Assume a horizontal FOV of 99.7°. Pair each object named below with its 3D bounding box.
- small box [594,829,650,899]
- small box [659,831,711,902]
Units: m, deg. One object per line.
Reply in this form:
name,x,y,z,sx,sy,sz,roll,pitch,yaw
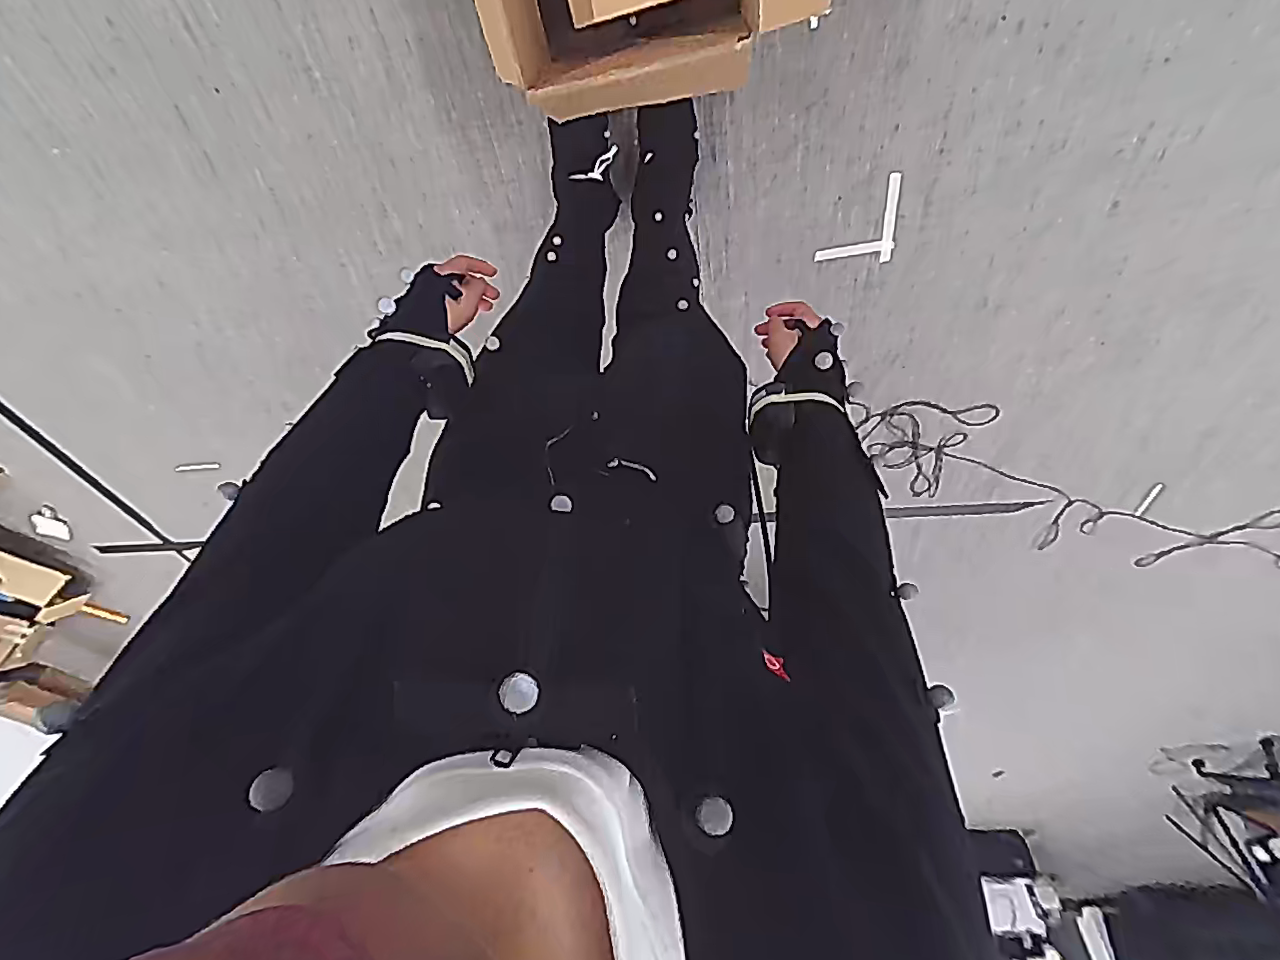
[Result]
small box,-0.055,1.306,1.838,0.168,0.176,0.179,-2,137,5
small box,0.153,1.293,1.808,0.168,0.176,0.179,-1,136,6
